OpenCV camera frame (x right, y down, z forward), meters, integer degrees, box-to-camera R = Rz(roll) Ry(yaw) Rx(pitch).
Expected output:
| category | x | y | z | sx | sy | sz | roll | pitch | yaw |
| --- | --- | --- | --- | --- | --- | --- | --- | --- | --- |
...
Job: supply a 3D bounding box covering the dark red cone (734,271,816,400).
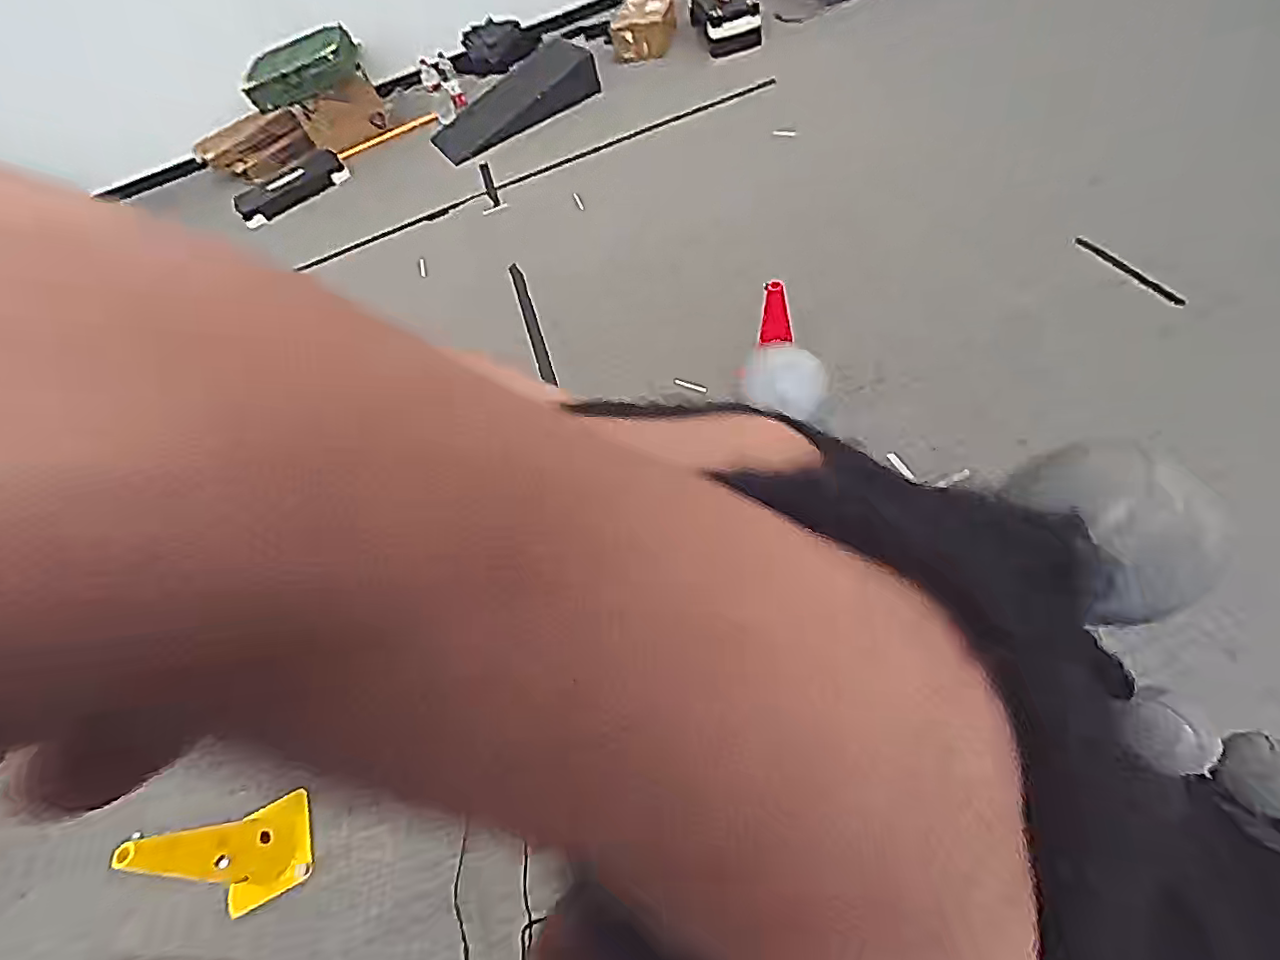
| category | x | y | z | sx | sy | sz | roll | pitch | yaw |
| --- | --- | --- | --- | --- | --- | --- | --- | --- | --- |
| dark red cone | 0.388 | -0.437 | 1.580 | 0.201 | 0.394 | 0.202 | -29 | 55 | -4 |
